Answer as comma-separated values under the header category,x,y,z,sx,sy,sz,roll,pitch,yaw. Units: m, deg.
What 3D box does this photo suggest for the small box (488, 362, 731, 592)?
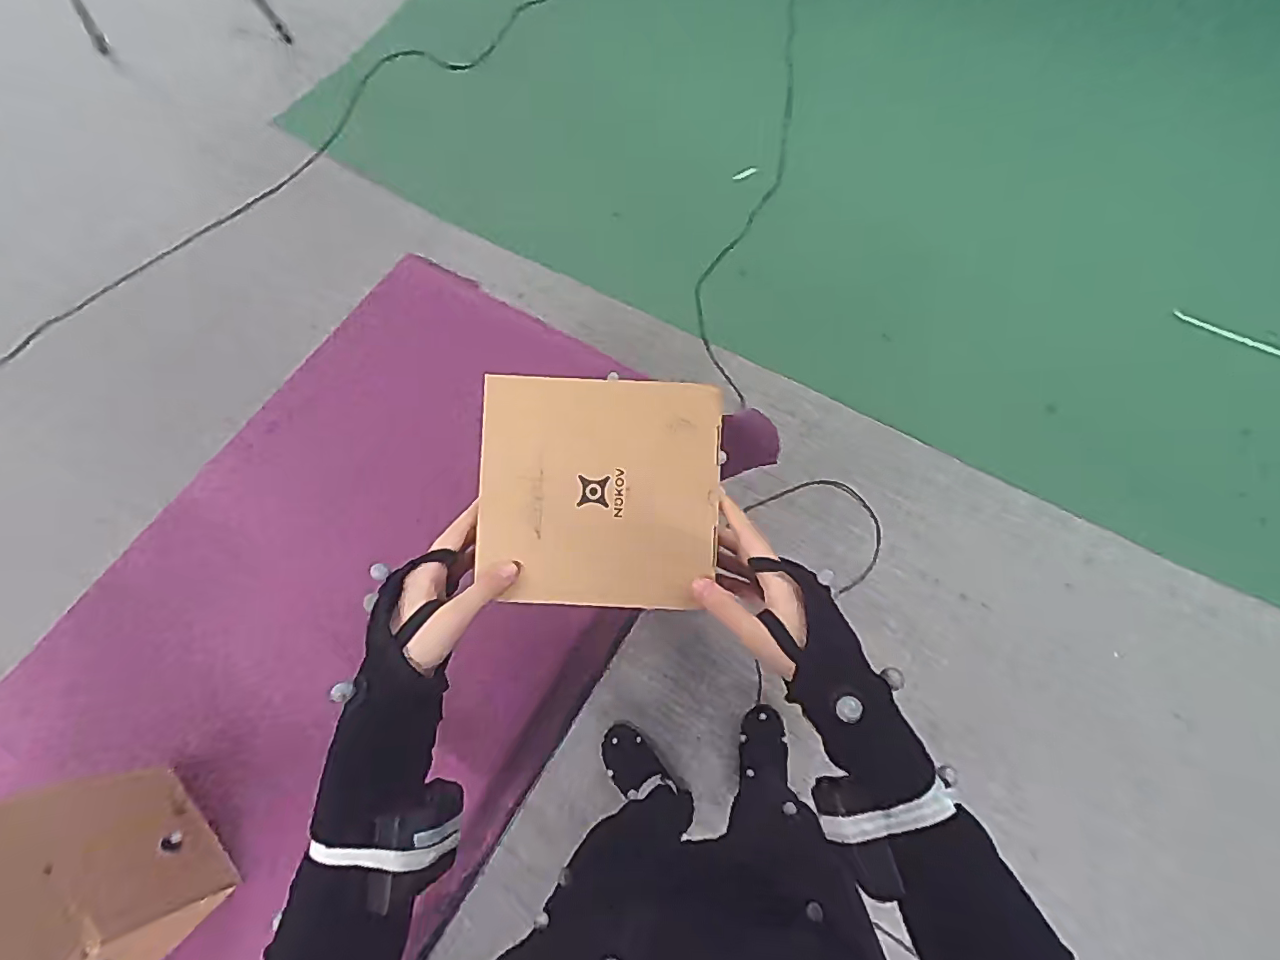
category,x,y,z,sx,sy,sz,roll,pitch,yaw
small box,-0.022,0.001,0.488,0.179,0.176,0.168,4,87,1
